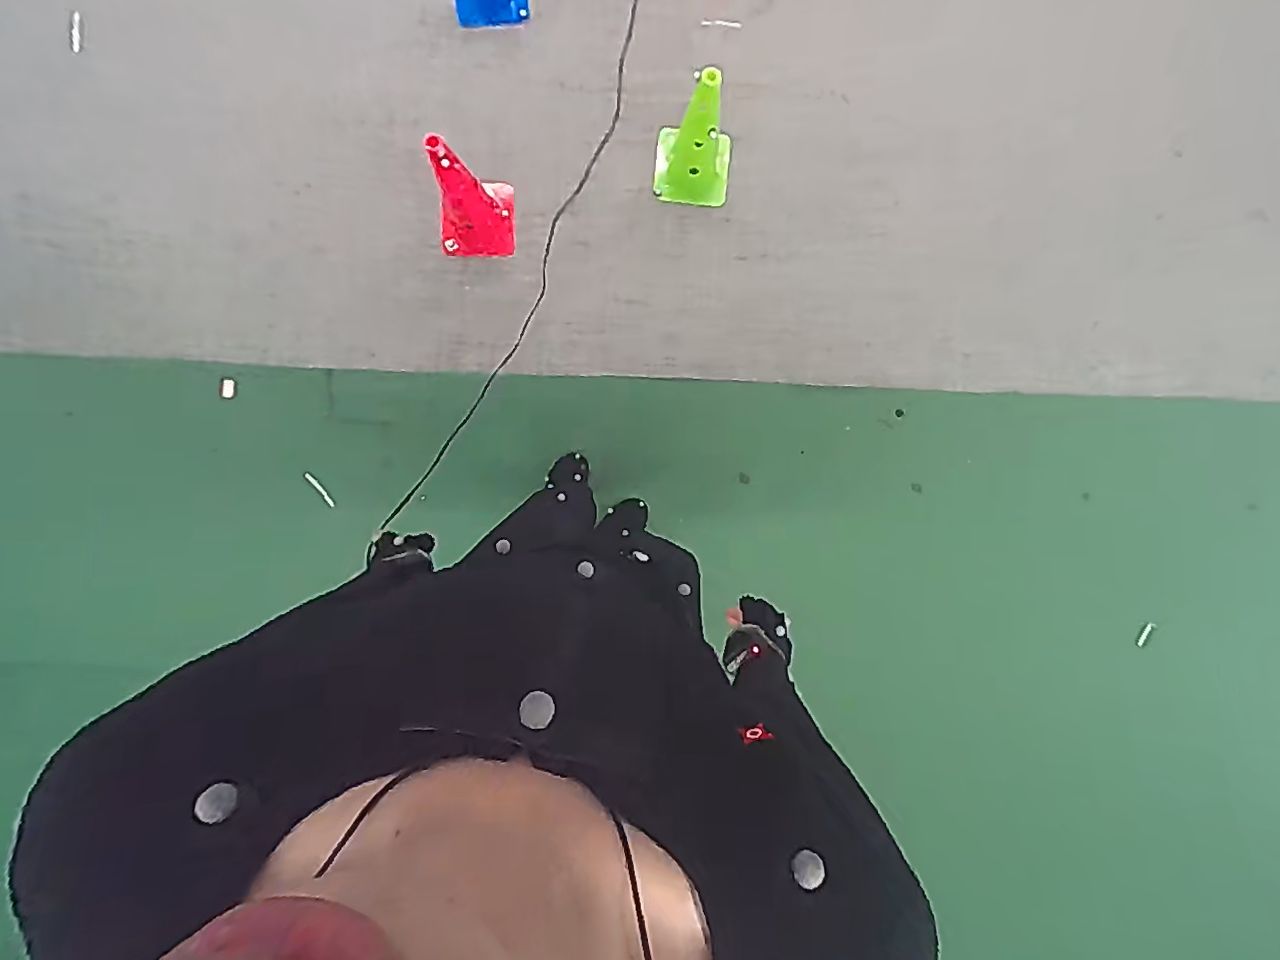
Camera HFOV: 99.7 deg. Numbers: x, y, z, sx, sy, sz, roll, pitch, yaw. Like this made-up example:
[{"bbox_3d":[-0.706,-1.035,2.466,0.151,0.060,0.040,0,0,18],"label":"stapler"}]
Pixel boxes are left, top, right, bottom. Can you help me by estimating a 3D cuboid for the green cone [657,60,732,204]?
[{"bbox_3d":[0.157,-0.871,1.327,0.200,0.368,0.202,5,90,-2],"label":"green cone"}]
